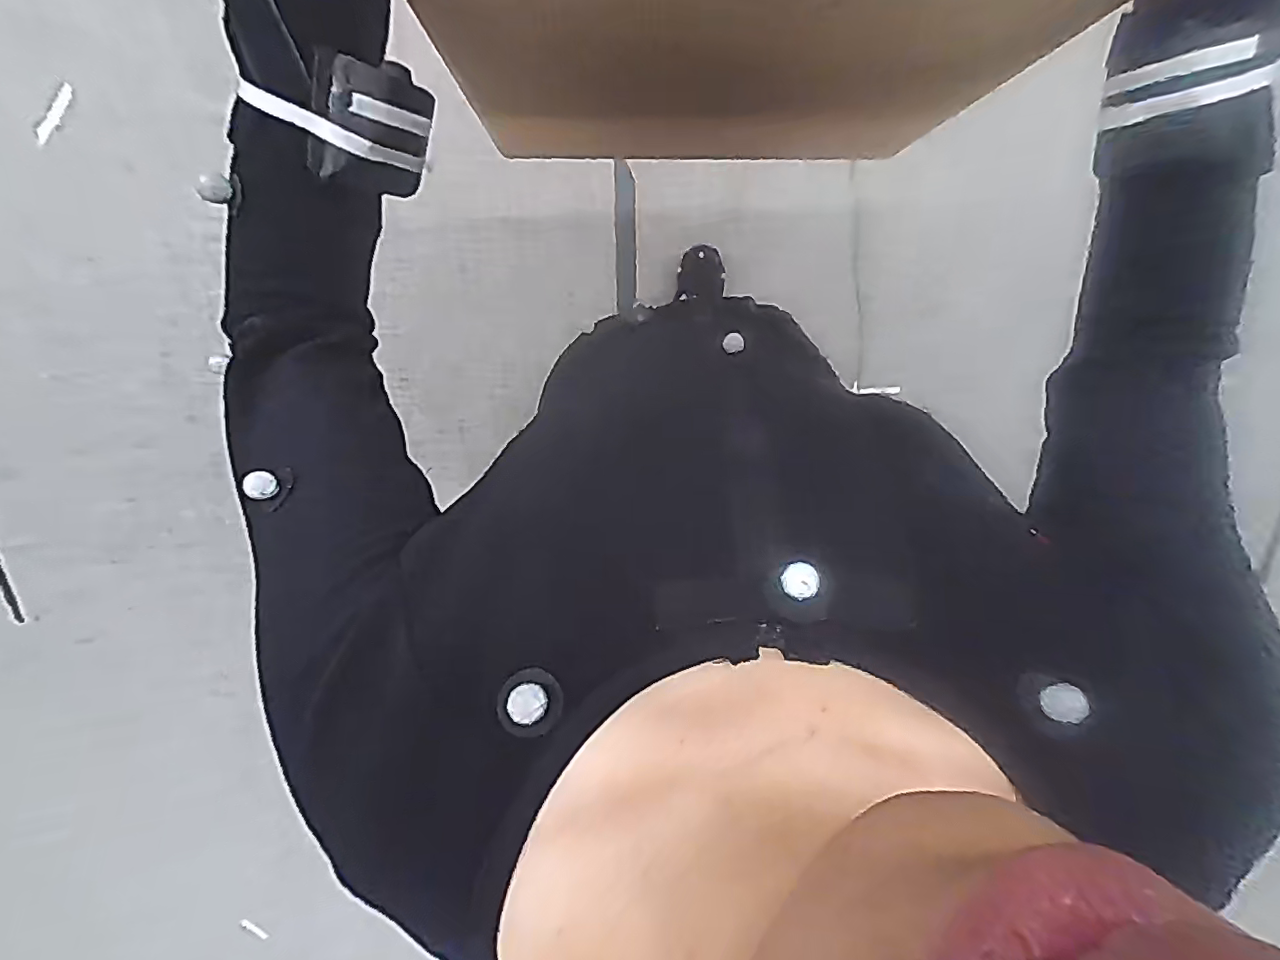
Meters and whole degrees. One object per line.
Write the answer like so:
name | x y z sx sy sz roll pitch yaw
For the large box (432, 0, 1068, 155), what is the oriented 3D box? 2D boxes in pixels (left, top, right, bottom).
large box | 0.063 -0.452 0.376 0.408 0.320 0.320 -2 105 -3
